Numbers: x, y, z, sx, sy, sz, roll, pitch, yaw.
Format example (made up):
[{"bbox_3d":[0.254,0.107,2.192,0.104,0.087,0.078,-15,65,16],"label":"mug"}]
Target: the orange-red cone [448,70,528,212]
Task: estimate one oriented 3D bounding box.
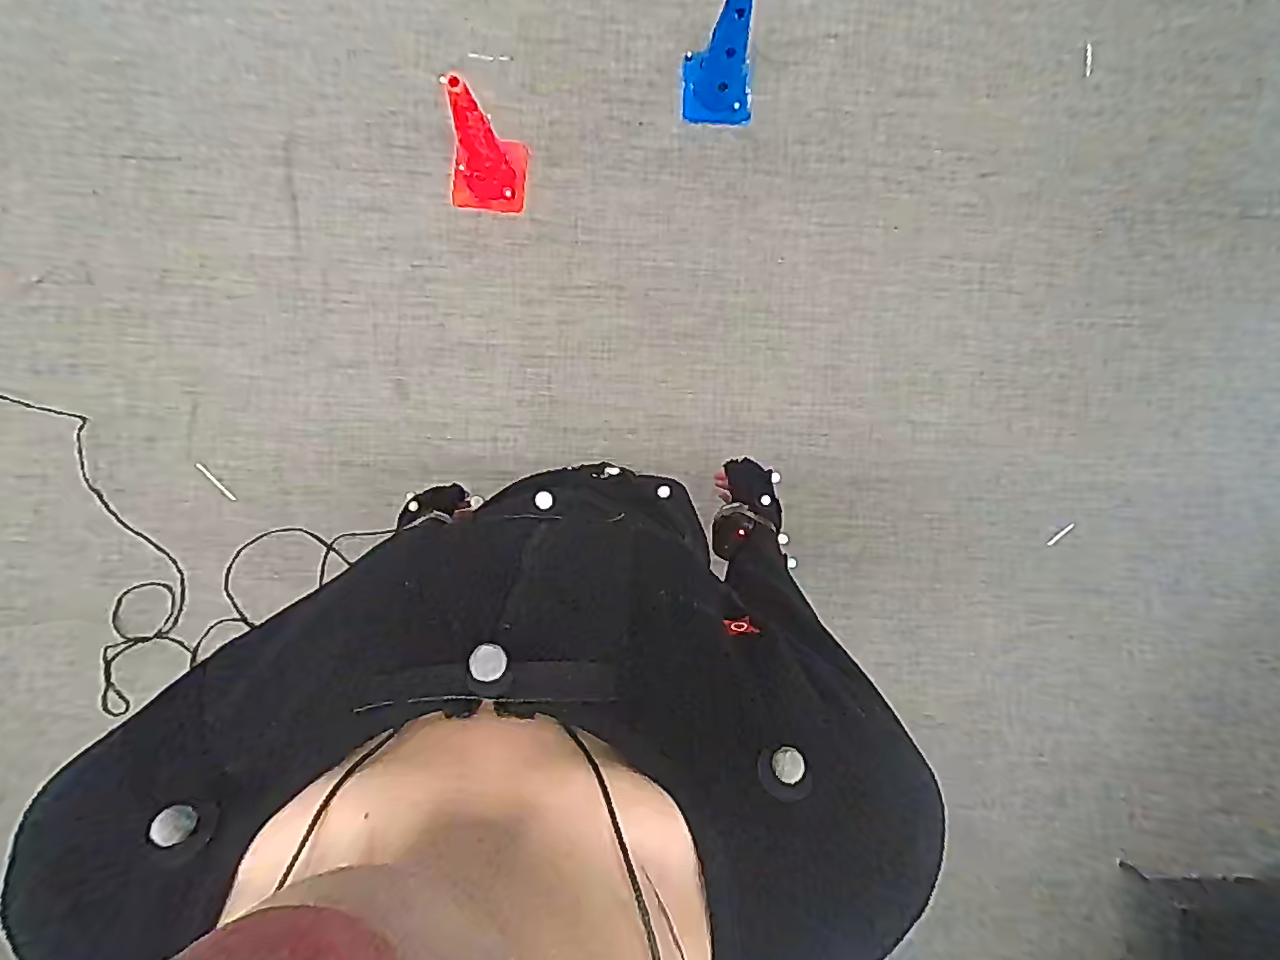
[{"bbox_3d":[-0.404,-0.855,1.326,0.198,0.360,0.199,6,88,-4],"label":"orange-red cone"}]
